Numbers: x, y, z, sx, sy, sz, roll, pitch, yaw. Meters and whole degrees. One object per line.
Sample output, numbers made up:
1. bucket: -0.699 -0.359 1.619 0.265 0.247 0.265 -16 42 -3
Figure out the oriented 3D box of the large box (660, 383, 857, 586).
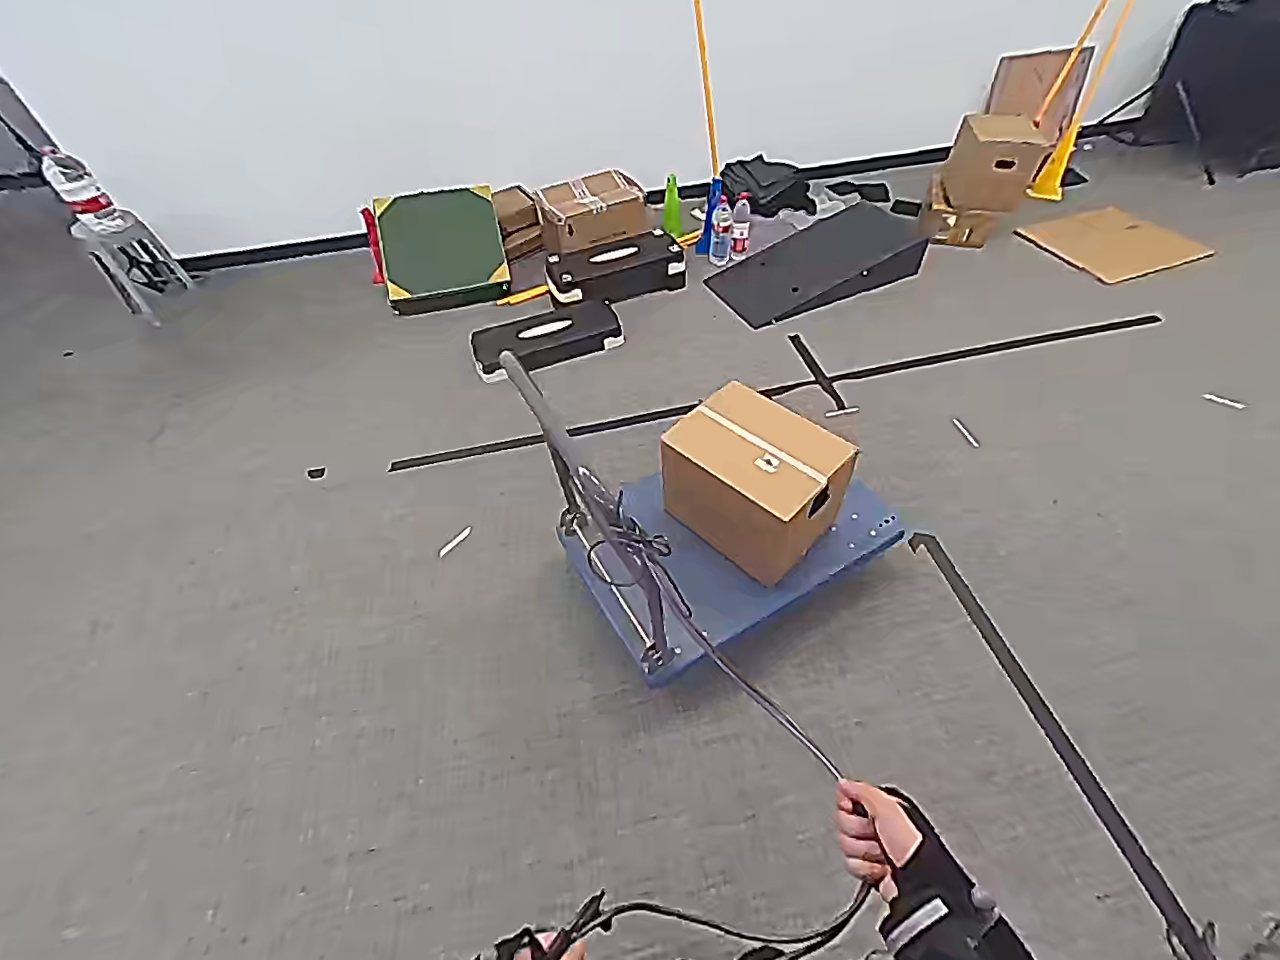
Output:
1. large box: 0.300 0.006 1.482 0.408 0.320 0.320 36 62 28
